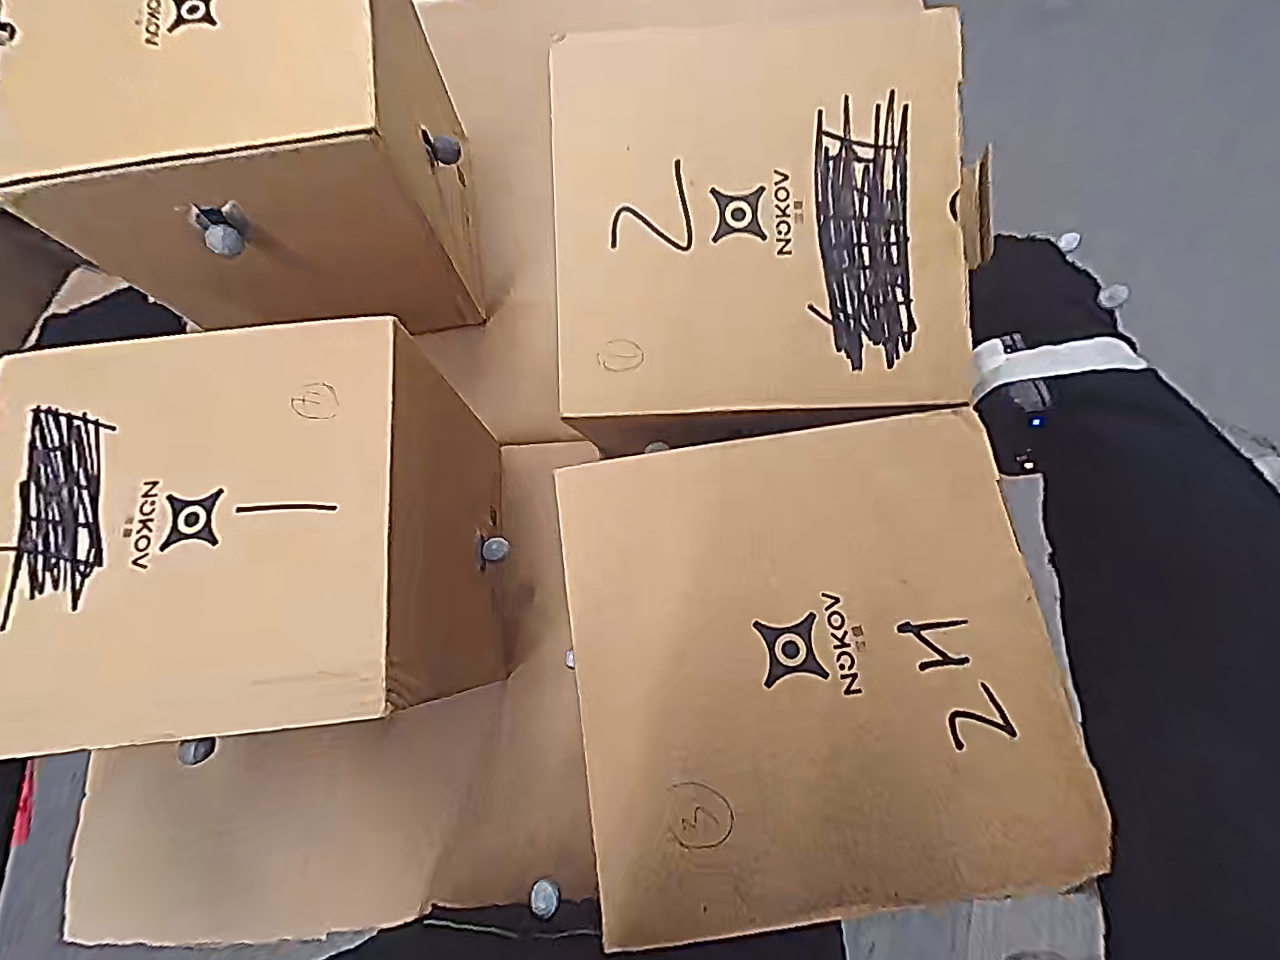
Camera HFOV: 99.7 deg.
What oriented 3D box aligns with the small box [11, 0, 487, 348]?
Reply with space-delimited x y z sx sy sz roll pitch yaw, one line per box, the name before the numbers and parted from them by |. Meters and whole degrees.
small box | -0.202 -0.200 0.336 0.179 0.176 0.168 -8 77 1
